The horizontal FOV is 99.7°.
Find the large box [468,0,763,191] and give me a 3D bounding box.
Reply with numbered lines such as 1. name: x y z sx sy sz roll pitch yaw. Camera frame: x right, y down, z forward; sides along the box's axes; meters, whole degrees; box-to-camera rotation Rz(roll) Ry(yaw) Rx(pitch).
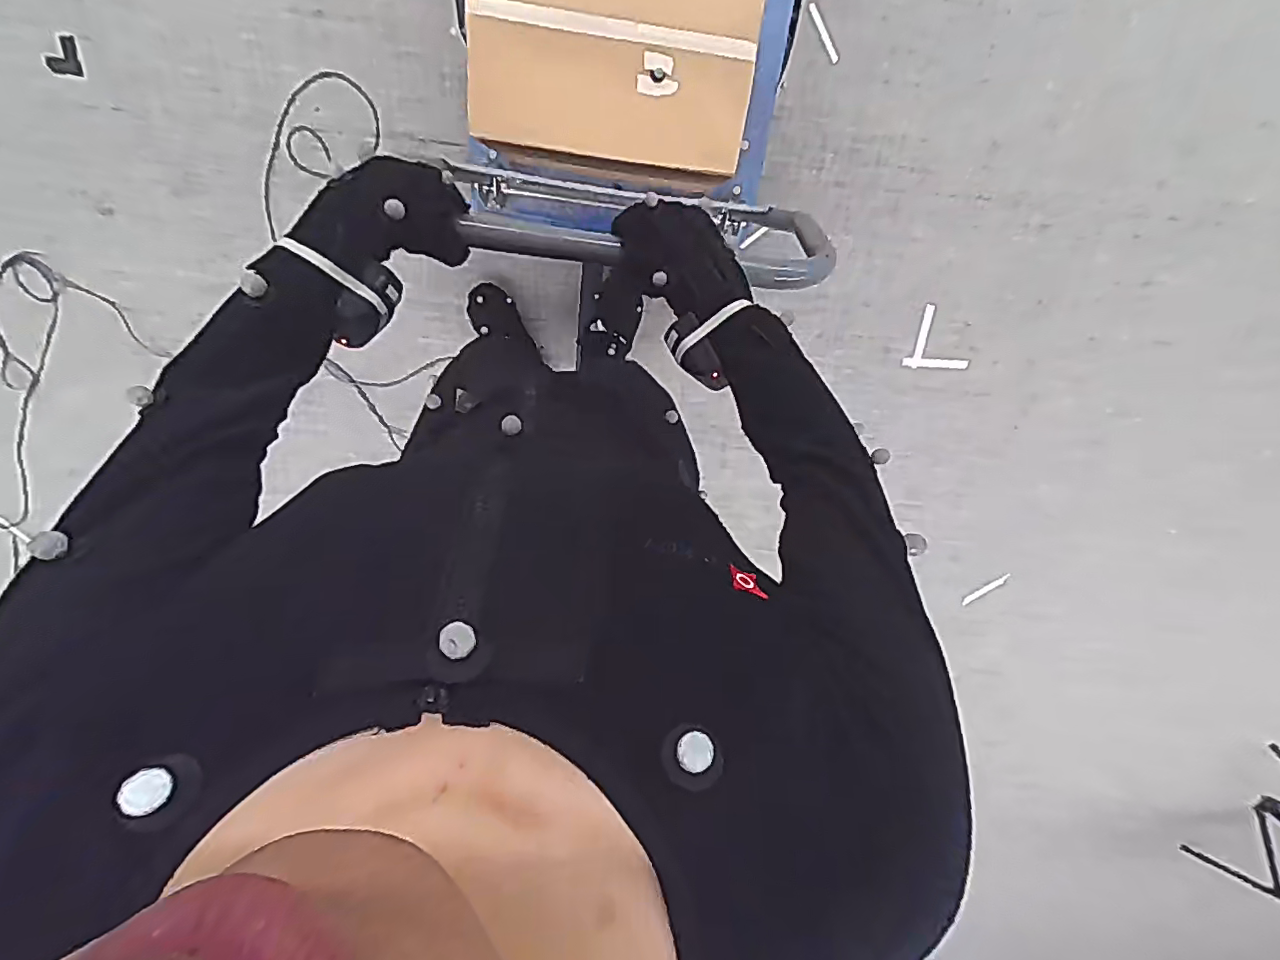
1. large box: -0.044 -0.679 0.881 0.408 0.320 0.320 6 115 -5
